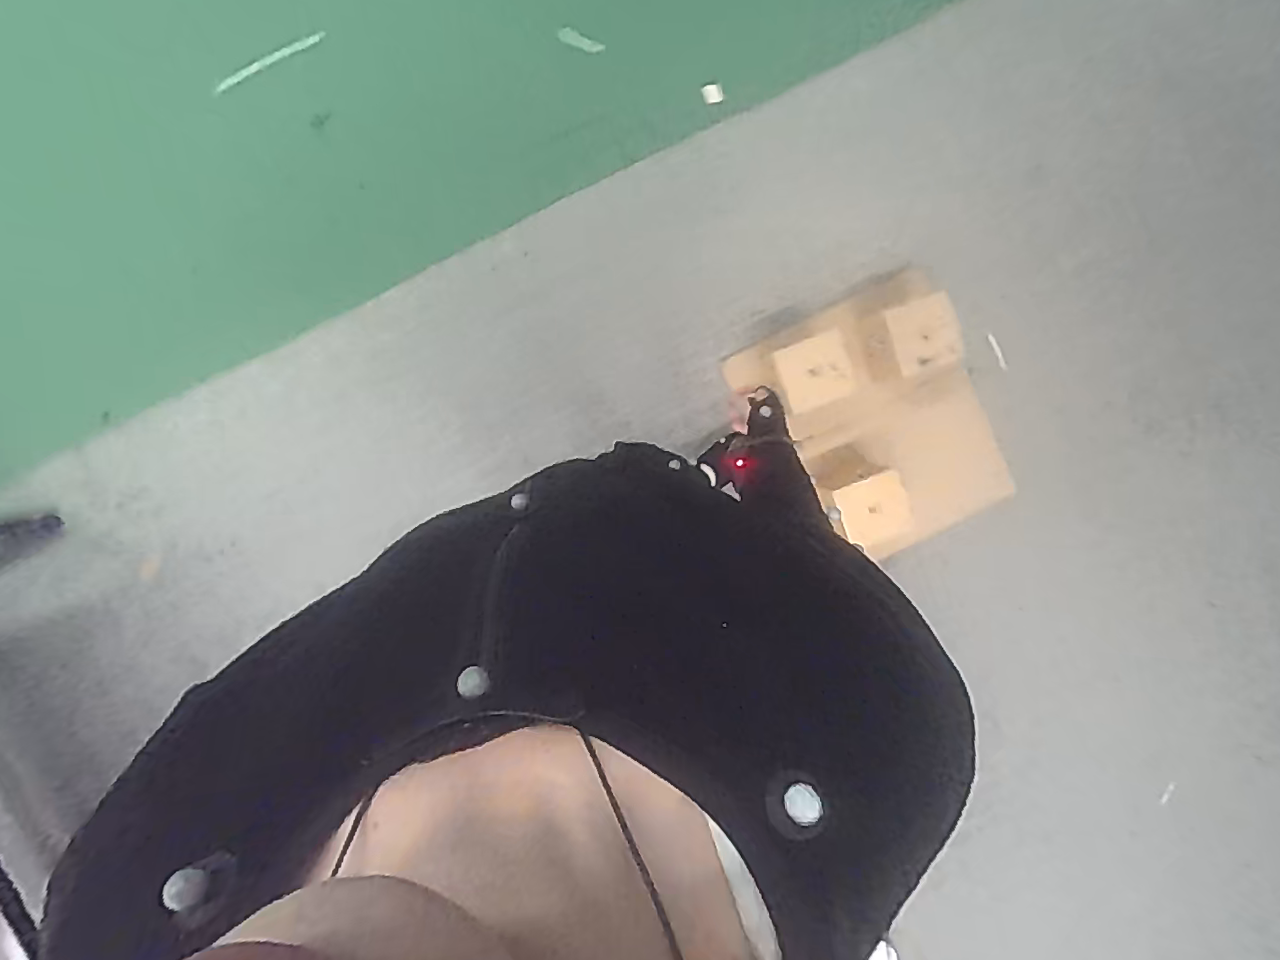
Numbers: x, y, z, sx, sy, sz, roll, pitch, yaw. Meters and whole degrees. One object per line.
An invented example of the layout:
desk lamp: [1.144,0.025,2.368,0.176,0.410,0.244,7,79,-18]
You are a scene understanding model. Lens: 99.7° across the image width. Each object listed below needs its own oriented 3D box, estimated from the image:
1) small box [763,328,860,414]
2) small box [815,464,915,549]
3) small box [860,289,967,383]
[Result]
small box: [0.431,-0.273,1.396,0.179,0.176,0.168,-20,96,1]
small box: [0.582,0.065,1.428,0.179,0.176,0.168,-21,96,0]
small box: [0.693,-0.363,1.392,0.168,0.176,0.179,-19,95,1]
